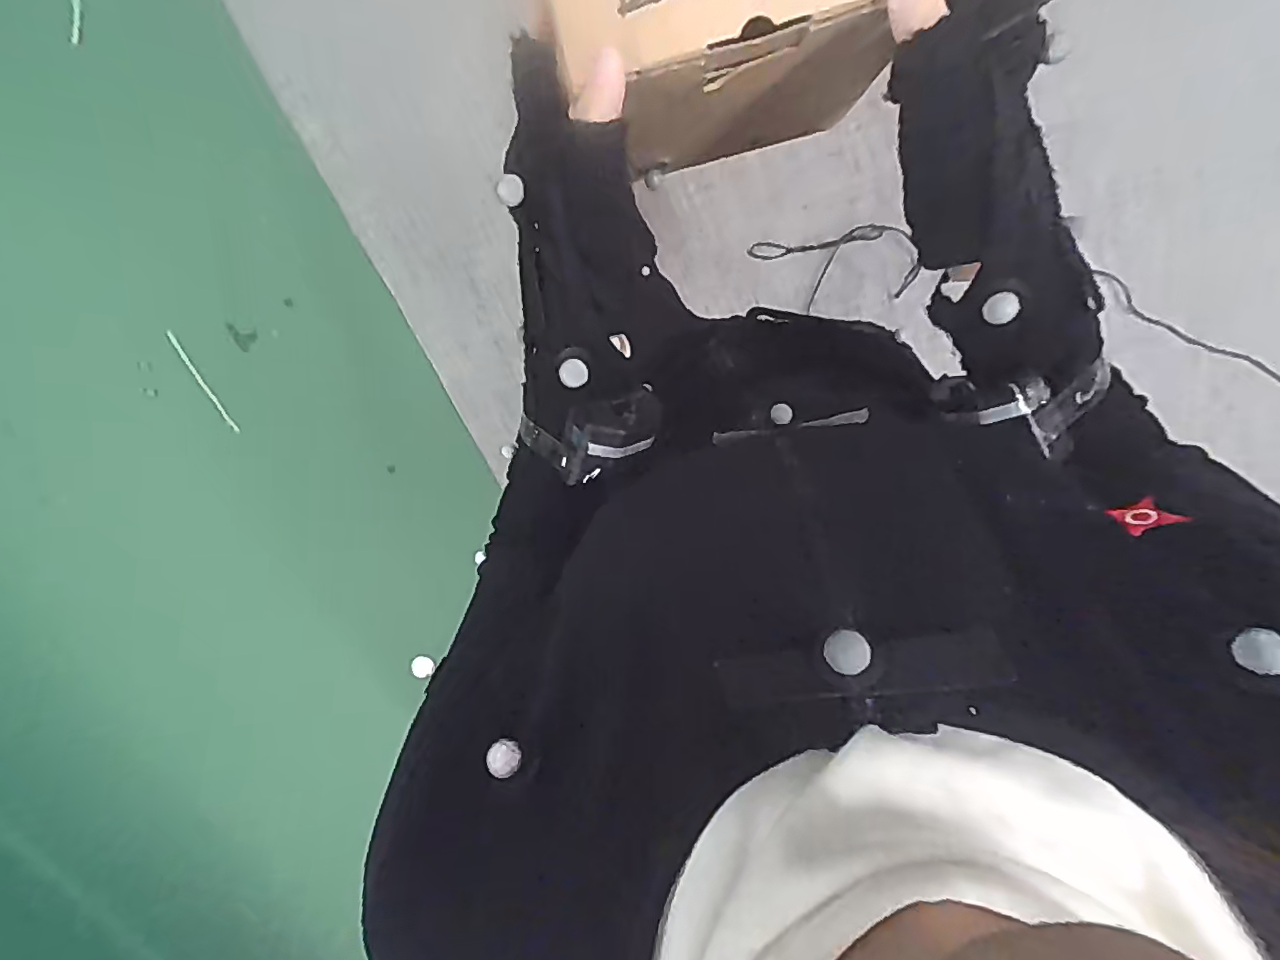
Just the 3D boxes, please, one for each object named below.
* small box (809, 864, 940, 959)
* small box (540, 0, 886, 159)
[{"bbox_3d":[0.393,0.775,0.882,0.168,0.176,0.179,-23,107,15],"label":"small box"},{"bbox_3d":[0.030,-0.296,0.285,0.168,0.176,0.179,-11,103,7],"label":"small box"}]
